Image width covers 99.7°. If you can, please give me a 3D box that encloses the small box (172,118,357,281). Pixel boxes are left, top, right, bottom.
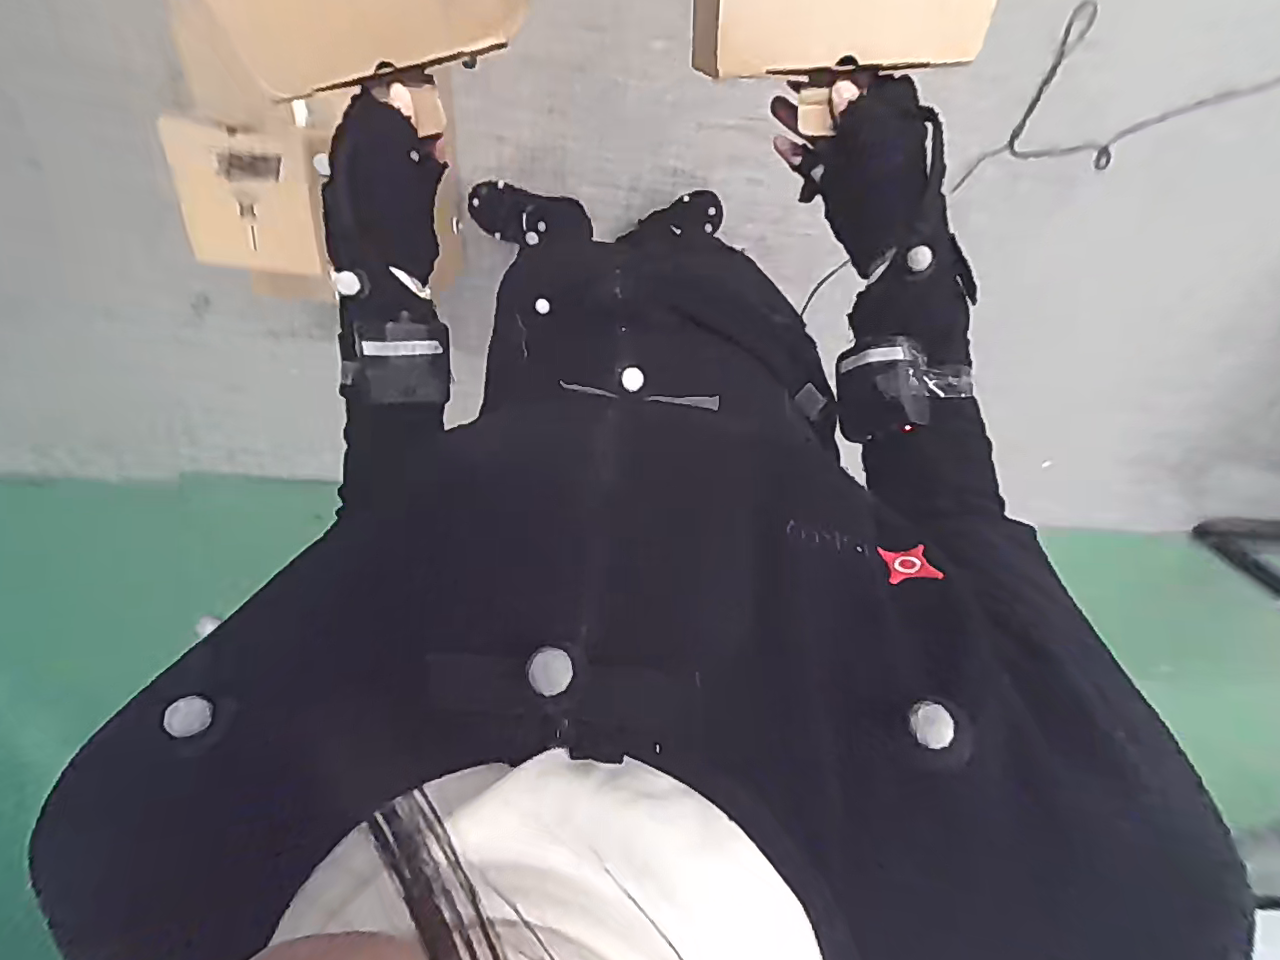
[{"bbox_3d":[-0.538,-0.418,0.804,0.168,0.176,0.179,6,123,-12],"label":"small box"}]

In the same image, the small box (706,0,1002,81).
[{"bbox_3d":[0.136,-0.379,0.355,0.168,0.176,0.179,-2,130,0],"label":"small box"}]
